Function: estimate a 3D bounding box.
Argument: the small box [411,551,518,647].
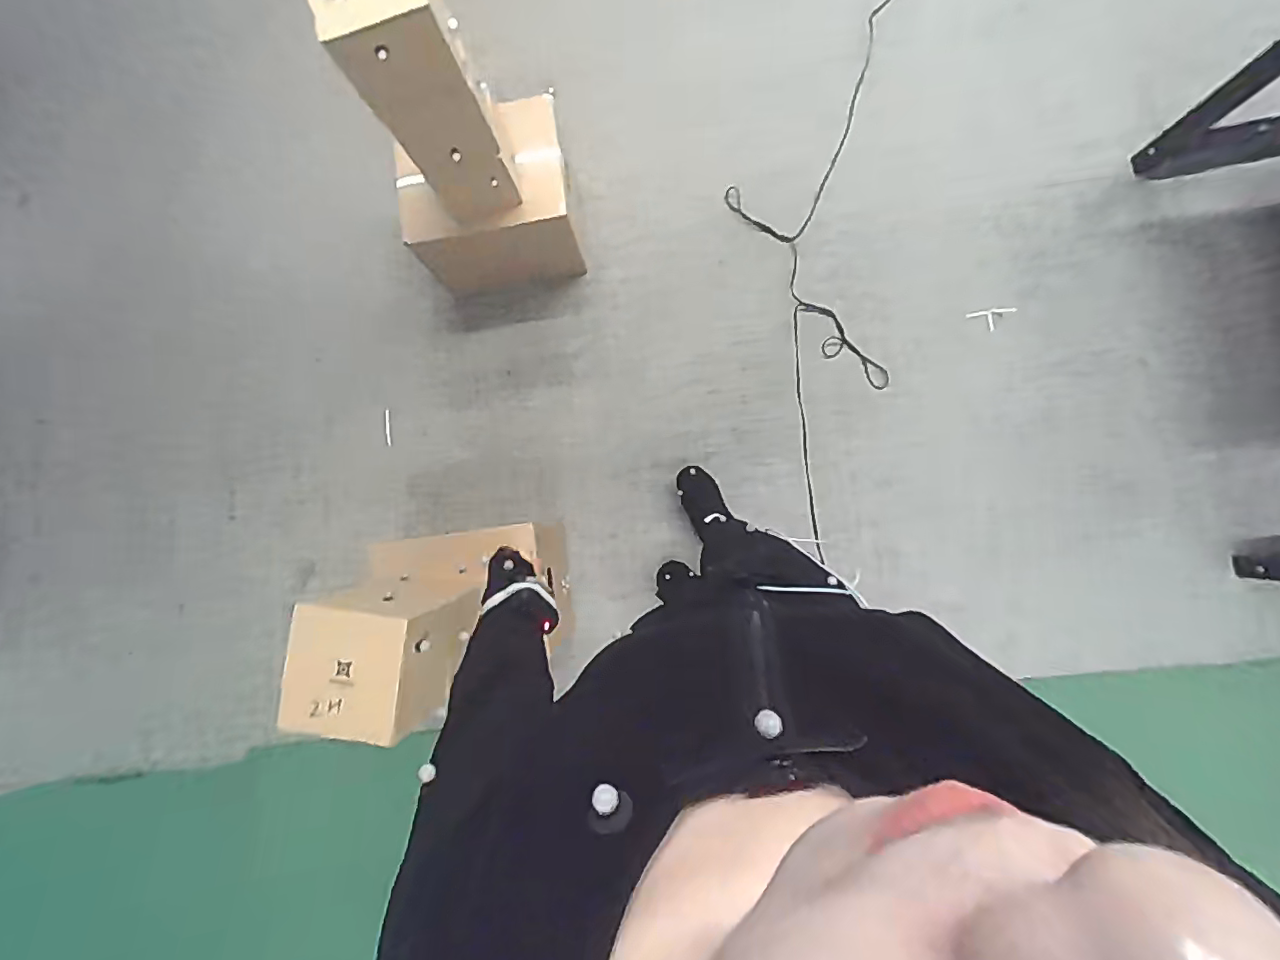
[{"bbox_3d":[-0.374,0.243,1.146,0.179,0.176,0.168,5,87,4],"label":"small box"}]

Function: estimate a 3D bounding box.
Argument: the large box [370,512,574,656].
[{"bbox_3d":[-0.409,0.257,1.391,0.408,0.320,0.320,-6,86,5],"label":"large box"}]

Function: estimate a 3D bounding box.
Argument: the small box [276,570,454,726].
[{"bbox_3d":[-0.401,0.239,0.820,0.168,0.176,0.179,9,88,5],"label":"small box"}]

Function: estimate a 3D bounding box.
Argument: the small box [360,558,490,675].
[{"bbox_3d":[-0.395,0.240,0.984,0.179,0.176,0.168,9,88,3],"label":"small box"}]
